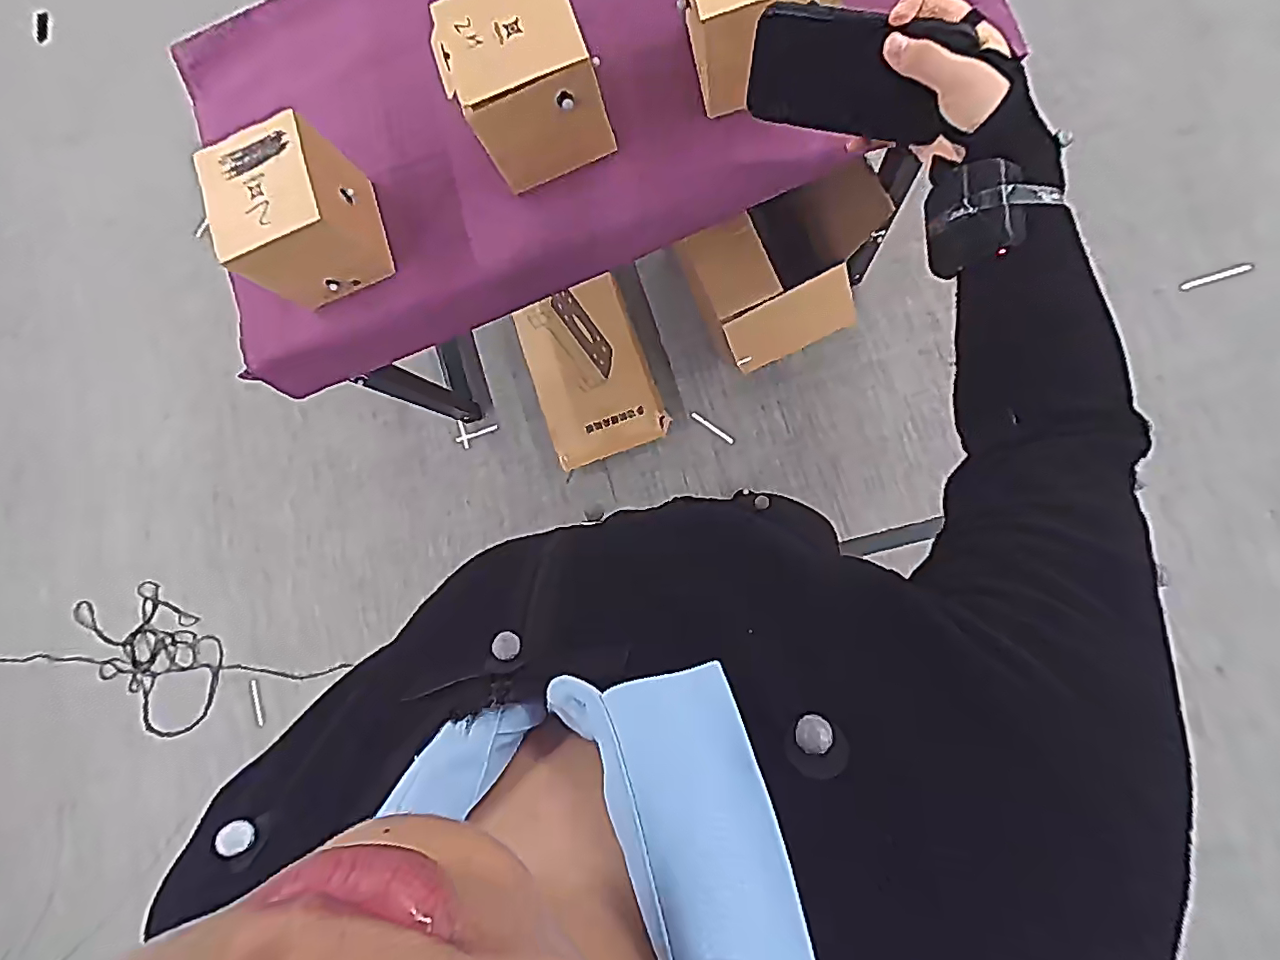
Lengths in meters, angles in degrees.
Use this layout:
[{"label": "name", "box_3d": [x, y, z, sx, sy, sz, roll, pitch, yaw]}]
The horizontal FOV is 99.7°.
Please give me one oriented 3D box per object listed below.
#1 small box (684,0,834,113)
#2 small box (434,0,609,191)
[{"label": "small box", "box_3d": [0.152, -0.636, 0.718, 0.179, 0.176, 0.168, -12, 84, 8]}, {"label": "small box", "box_3d": [-0.153, -0.554, 0.762, 0.179, 0.176, 0.168, -19, 80, 8]}]
